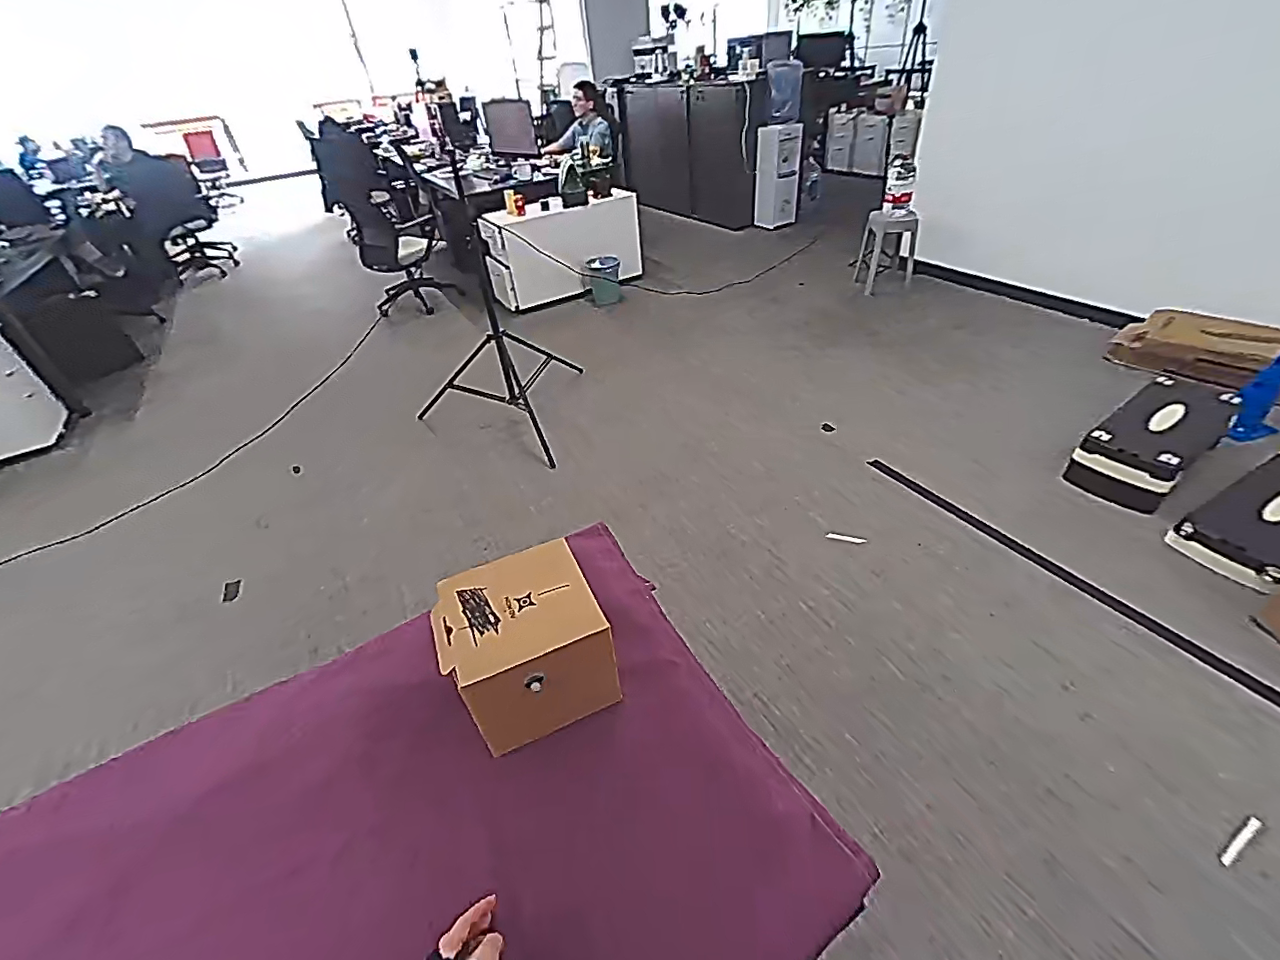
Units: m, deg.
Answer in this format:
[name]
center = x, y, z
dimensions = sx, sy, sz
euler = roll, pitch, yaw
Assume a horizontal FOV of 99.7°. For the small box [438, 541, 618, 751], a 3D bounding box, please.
[small box]
center = -0.142, 0.216, 0.708
dimensions = 0.179, 0.176, 0.168
euler = -19, 42, -17
